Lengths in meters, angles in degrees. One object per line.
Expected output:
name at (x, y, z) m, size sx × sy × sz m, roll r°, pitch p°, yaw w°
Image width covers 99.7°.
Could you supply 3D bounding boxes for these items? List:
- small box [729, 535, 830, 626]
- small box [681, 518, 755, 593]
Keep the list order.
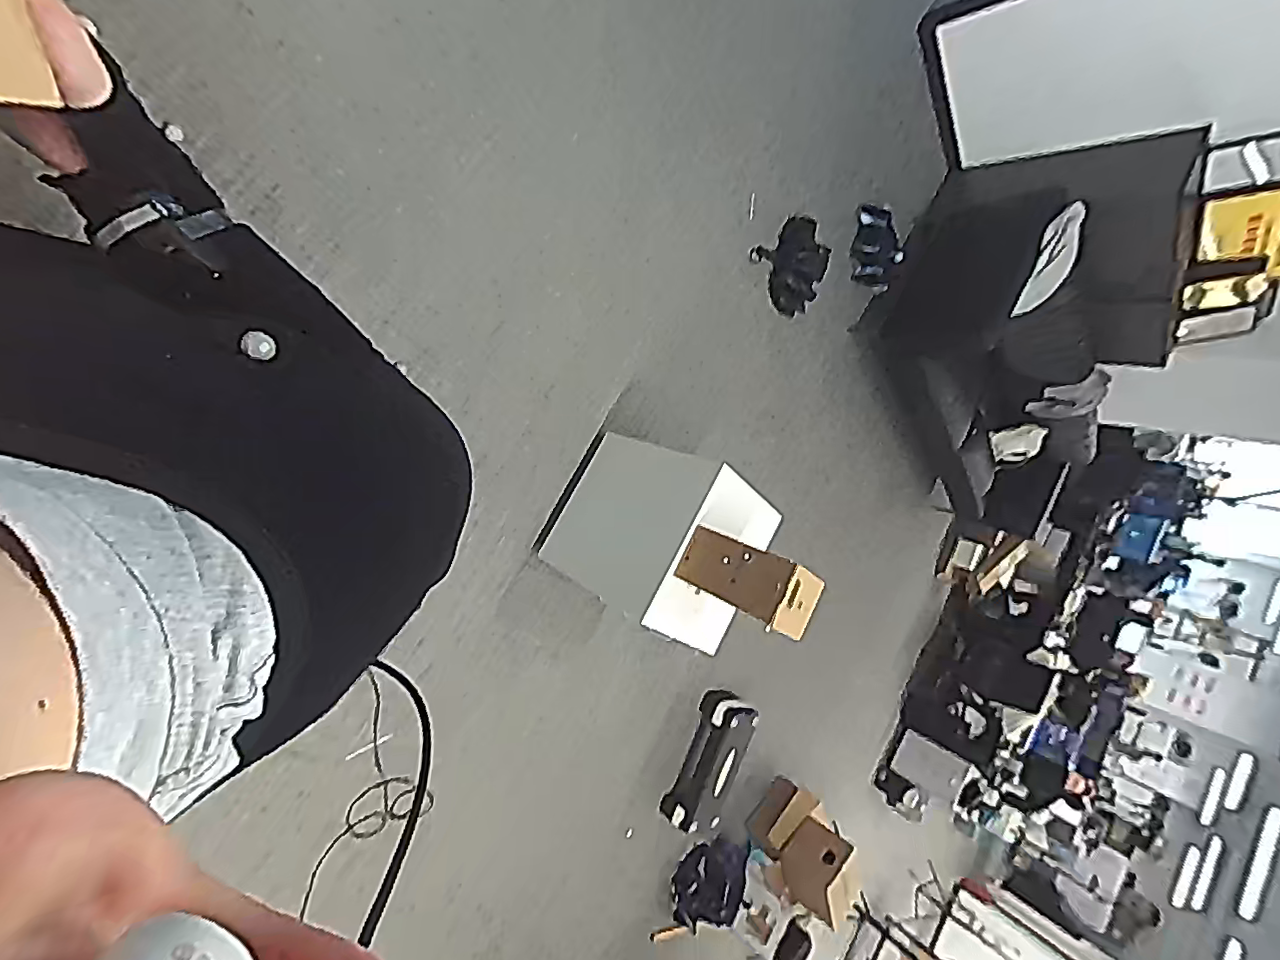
small box at (0.360, 0.257, 1.407) m, size 0.179 × 0.176 × 0.168 m, roll 32°, pitch 81°, yaw -45°
small box at (0.250, 0.220, 1.524) m, size 0.179 × 0.176 × 0.168 m, roll 31°, pitch 81°, yaw -45°
